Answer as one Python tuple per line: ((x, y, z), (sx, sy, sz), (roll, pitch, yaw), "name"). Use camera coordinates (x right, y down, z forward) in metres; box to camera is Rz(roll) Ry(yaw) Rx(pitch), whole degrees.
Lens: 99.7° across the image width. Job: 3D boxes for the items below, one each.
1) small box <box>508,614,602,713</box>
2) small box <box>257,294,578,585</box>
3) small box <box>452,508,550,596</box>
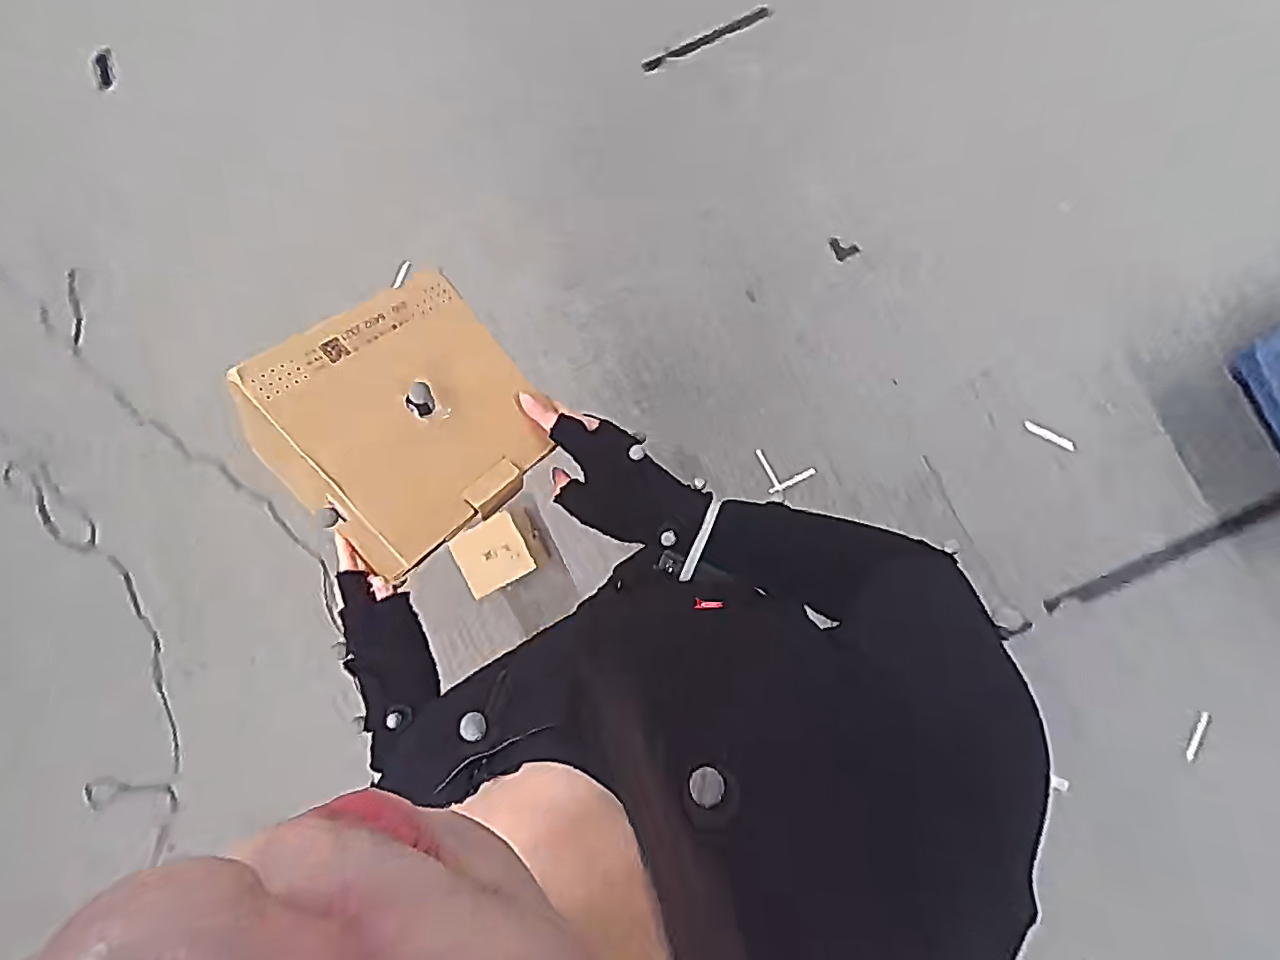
((-0.214, 0.470, 1.412), (0.179, 0.176, 0.168), (-25, 87, 1), "small box")
((-0.191, -0.033, 0.464), (0.168, 0.179, 0.176), (-43, 100, -32), "small box")
((-0.361, 0.185, 1.430), (0.179, 0.176, 0.168), (-29, 87, 1), "small box")
